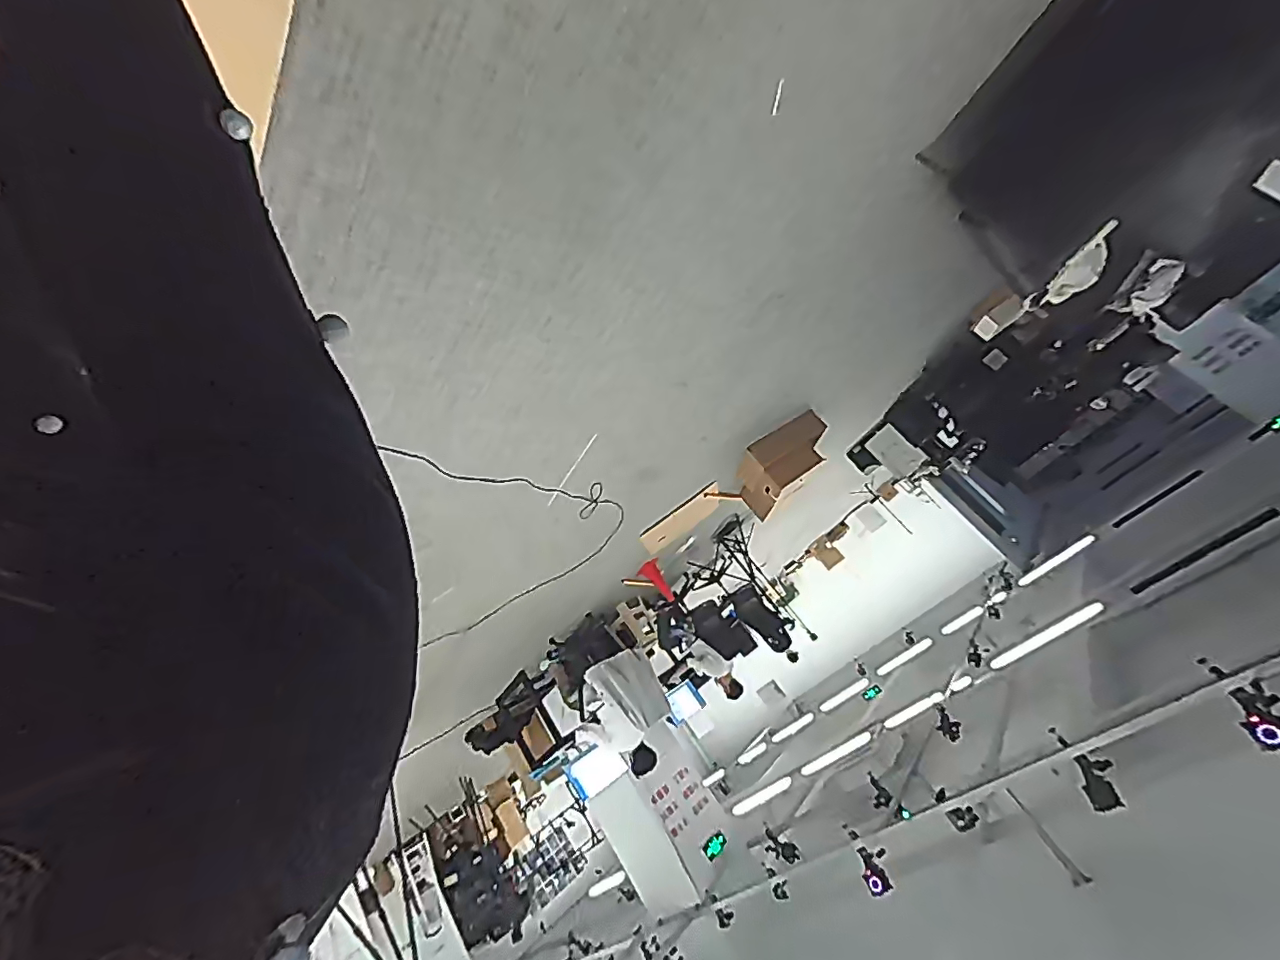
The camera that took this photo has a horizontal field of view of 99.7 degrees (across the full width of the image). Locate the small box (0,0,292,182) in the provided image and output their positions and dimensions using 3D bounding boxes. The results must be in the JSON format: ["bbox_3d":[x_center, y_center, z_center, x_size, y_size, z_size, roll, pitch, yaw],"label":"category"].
[{"bbox_3d":[-0.433,-0.404,0.459,0.168,0.176,0.179,-9,144,-53],"label":"small box"}]

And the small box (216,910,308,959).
[{"bbox_3d":[-1.000,1.286,1.415,0.179,0.176,0.168,-11,146,-51],"label":"small box"}]
